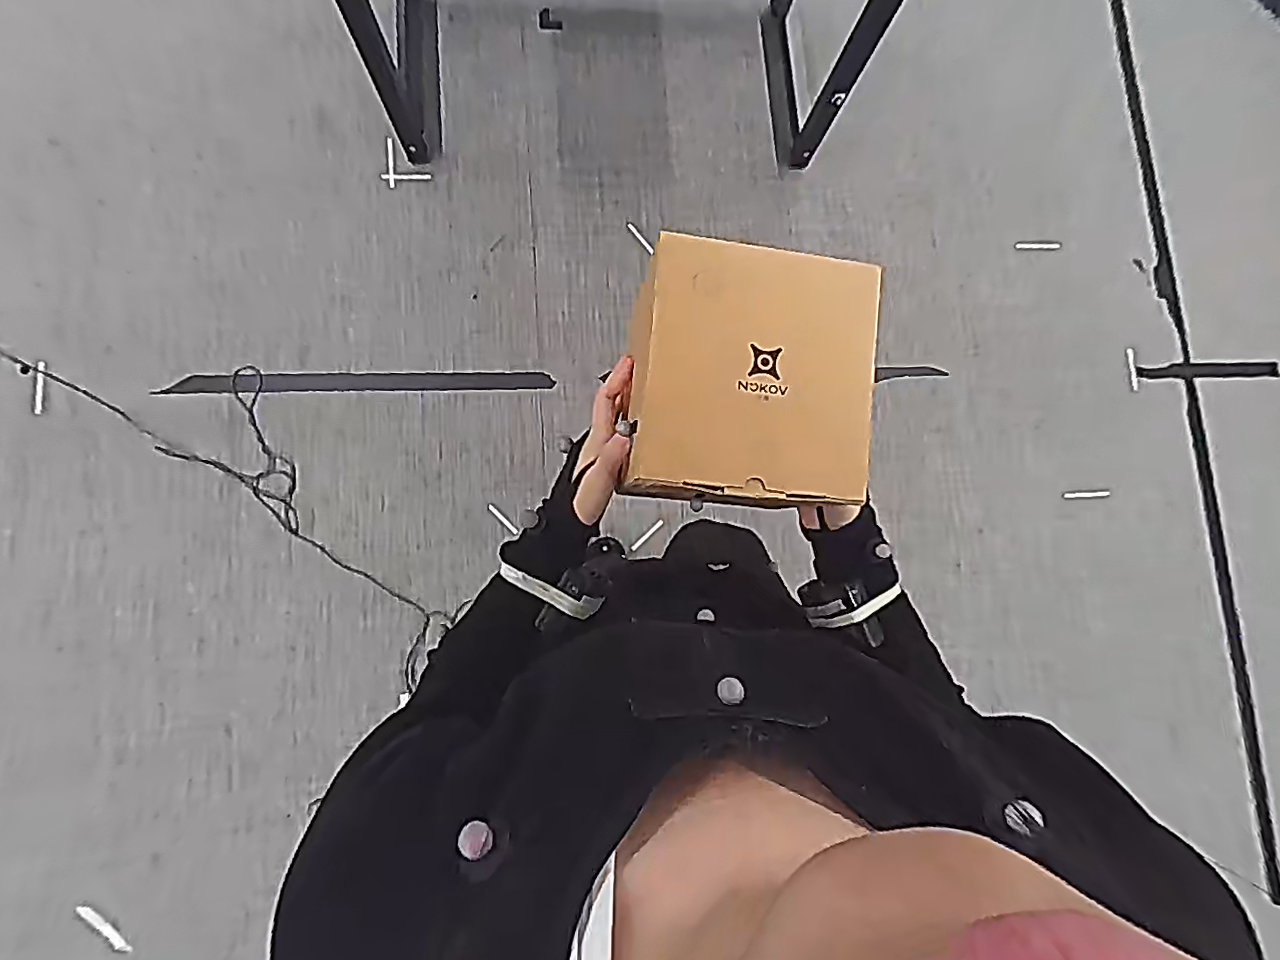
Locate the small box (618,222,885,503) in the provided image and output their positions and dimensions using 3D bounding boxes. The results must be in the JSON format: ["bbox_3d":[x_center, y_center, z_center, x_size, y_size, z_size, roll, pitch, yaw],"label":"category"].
[{"bbox_3d":[0.076,-0.076,0.448,0.168,0.176,0.179,6,87,-8],"label":"small box"}]
